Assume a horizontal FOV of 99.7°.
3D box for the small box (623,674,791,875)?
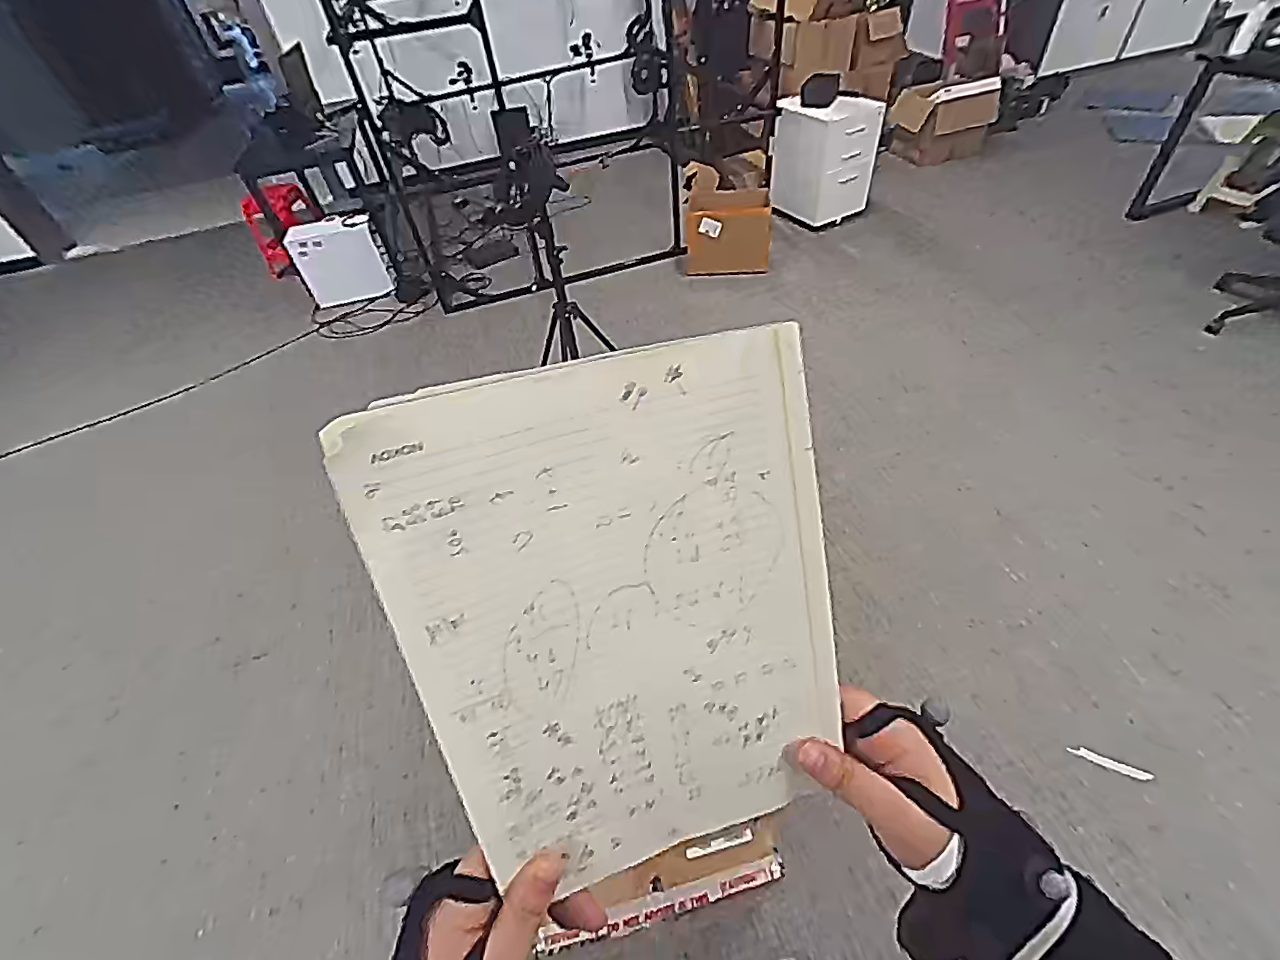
[{"bbox_3d":[0.075,0.384,0.705,0.168,0.176,0.179,-10,49,-6],"label":"small box"}]
